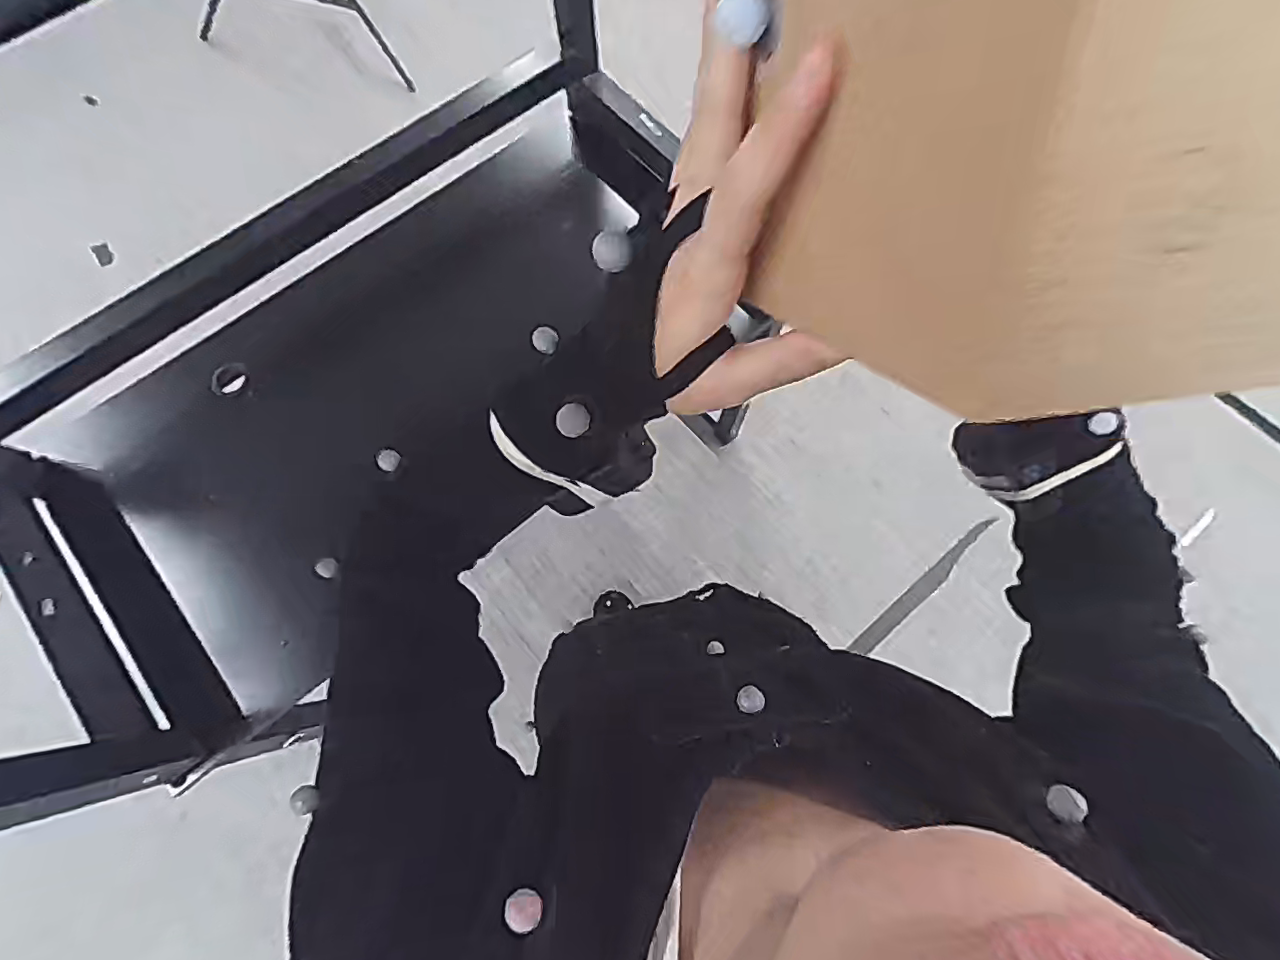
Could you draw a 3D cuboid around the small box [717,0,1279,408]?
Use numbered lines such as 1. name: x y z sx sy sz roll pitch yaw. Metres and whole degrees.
1. small box: 0.132 -0.134 0.157 0.179 0.176 0.168 -7 119 -6
